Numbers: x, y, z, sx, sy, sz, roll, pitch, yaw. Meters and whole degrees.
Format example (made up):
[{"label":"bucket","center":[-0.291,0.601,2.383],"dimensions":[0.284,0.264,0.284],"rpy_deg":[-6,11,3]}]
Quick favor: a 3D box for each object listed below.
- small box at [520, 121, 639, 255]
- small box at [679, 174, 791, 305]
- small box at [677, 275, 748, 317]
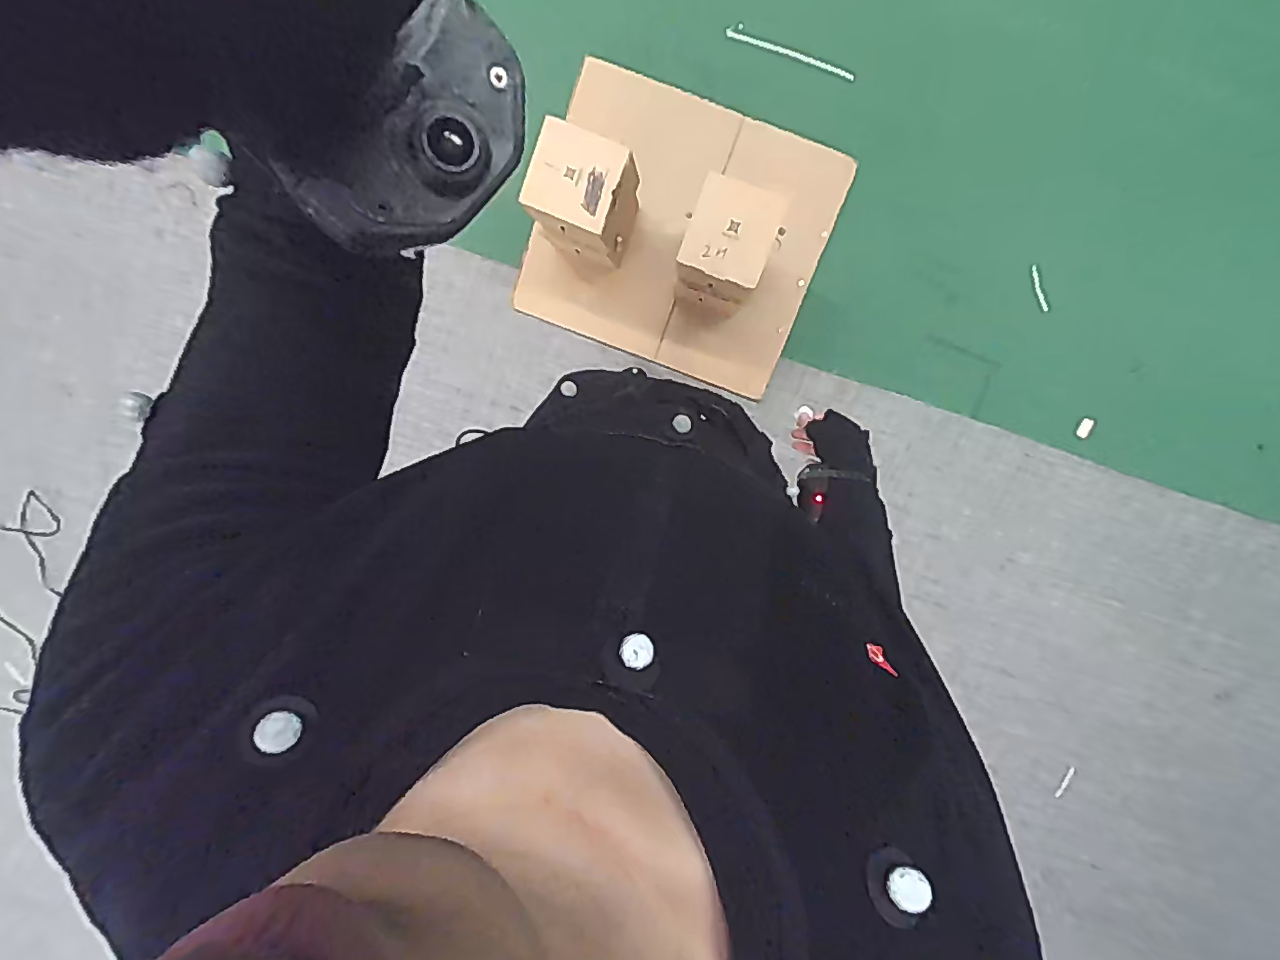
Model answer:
[{"label":"small box","center":[-0.114,-0.580,1.102],"dimensions":[0.179,0.176,0.168],"rpy_deg":[24,101,1]},{"label":"small box","center":[0.183,-0.479,1.104],"dimensions":[0.168,0.176,0.179],"rpy_deg":[21,101,0]},{"label":"small box","center":[0.189,-0.499,1.269],"dimensions":[0.168,0.176,0.179],"rpy_deg":[19,102,0]}]
